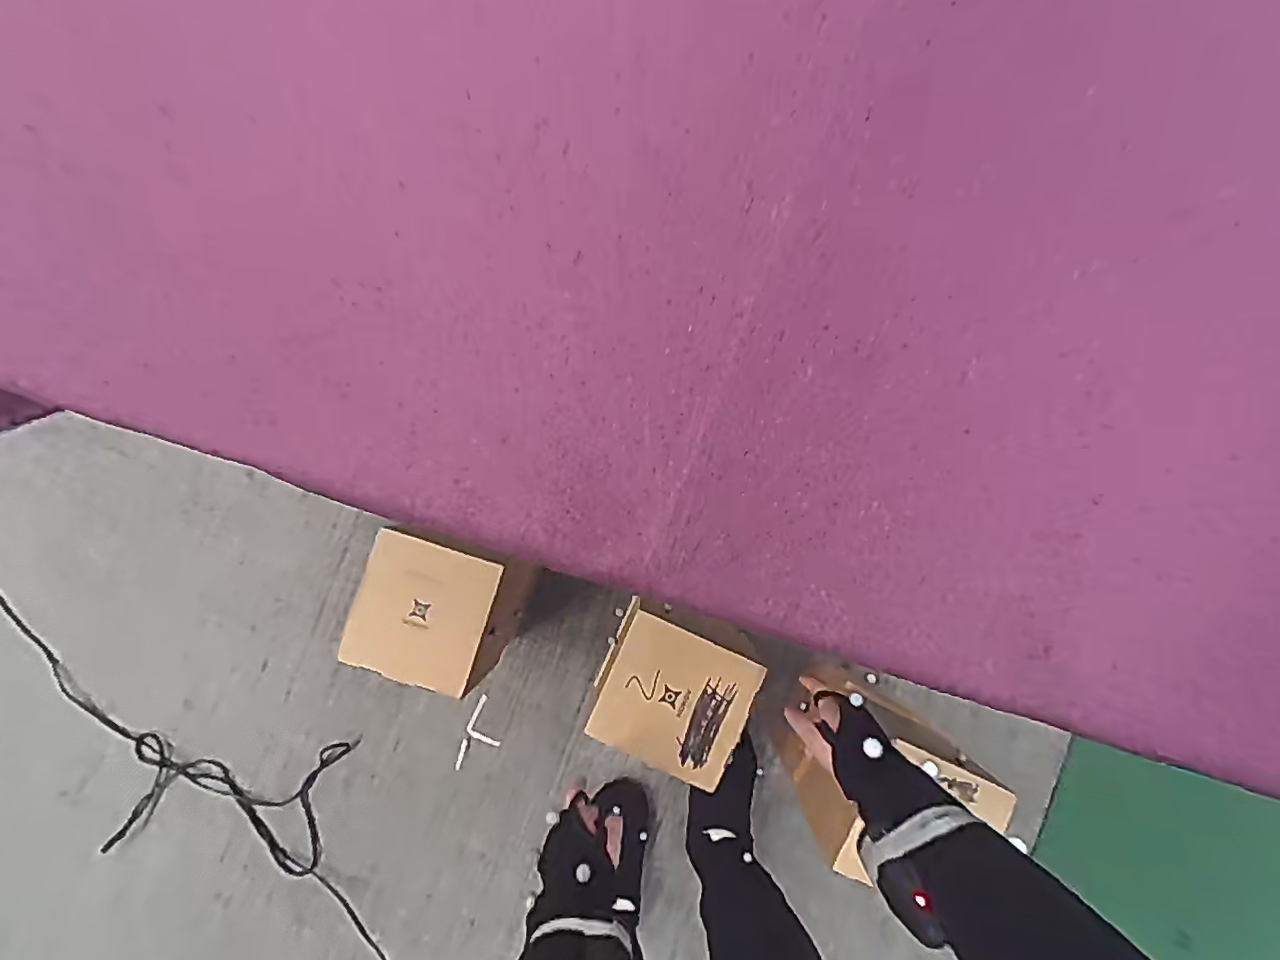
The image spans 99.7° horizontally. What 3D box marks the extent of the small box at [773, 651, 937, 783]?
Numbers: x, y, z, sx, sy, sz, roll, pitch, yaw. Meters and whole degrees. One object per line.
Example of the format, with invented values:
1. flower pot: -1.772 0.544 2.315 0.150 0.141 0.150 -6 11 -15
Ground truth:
1. small box: 0.336 0.411 0.885 0.168 0.176 0.179 29 88 2

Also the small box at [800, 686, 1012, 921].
1. small box: 0.332 0.411 0.719 0.168 0.176 0.179 25 90 0
